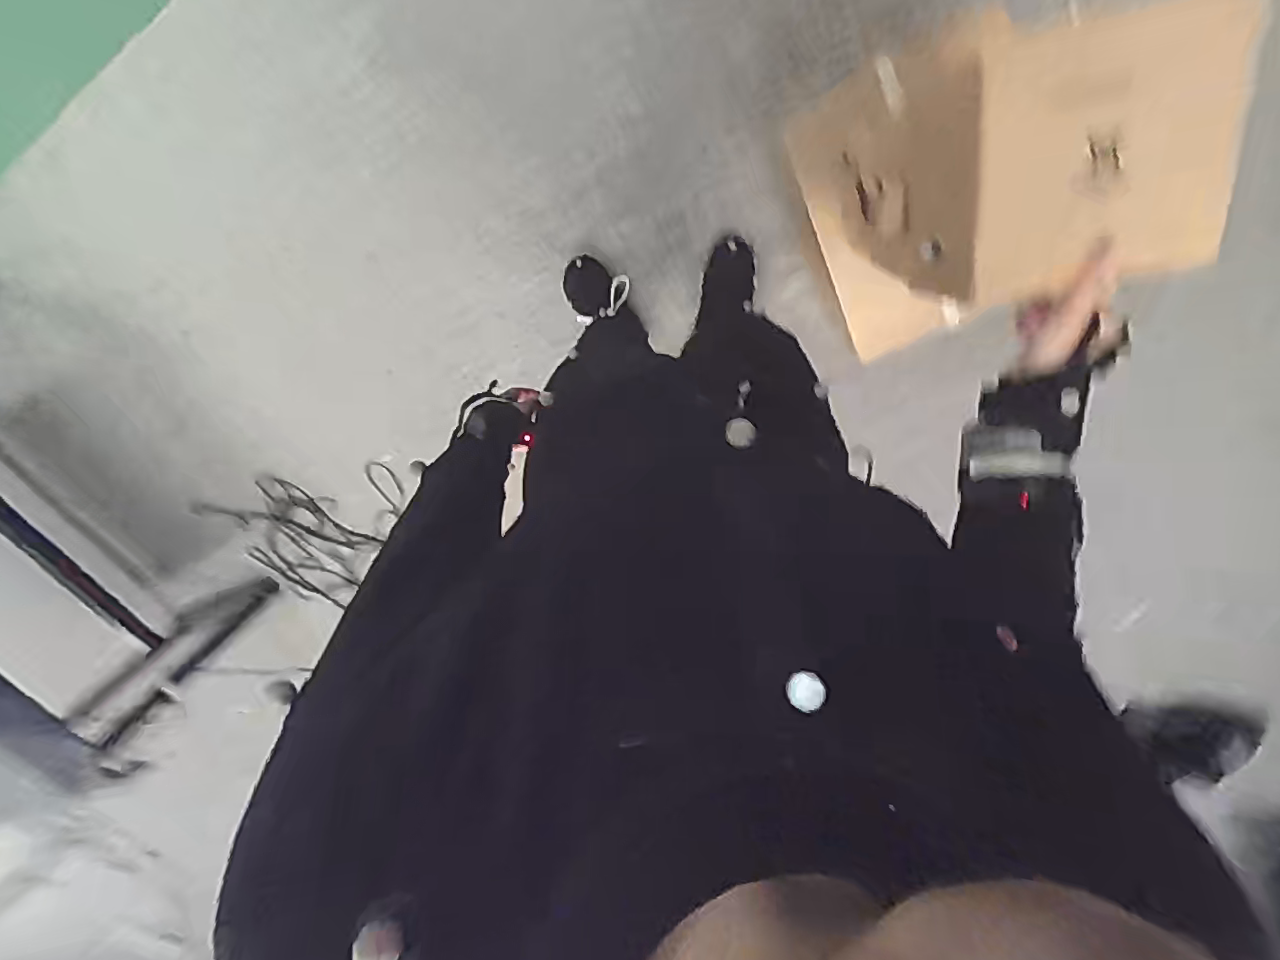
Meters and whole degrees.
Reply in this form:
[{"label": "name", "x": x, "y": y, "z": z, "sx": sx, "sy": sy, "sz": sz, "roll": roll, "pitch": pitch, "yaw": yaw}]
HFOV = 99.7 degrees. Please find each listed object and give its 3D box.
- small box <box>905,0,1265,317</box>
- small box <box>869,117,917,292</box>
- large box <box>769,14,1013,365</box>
[{"label": "small box", "x": 0.335, "y": -0.247, "z": 0.454, "sx": 0.168, "sy": 0.176, "sz": 0.179, "roll": -7, "pitch": 110, "yaw": 11}, {"label": "small box", "x": 0.370, "y": -0.325, "z": 0.605, "sx": 0.179, "sy": 0.176, "sz": 0.168, "roll": -8, "pitch": 118, "yaw": 13}, {"label": "large box", "x": 0.459, "y": -0.488, "z": 0.970, "sx": 0.320, "sy": 0.320, "sz": 0.408, "roll": -21, "pitch": 115, "yaw": 19}]
